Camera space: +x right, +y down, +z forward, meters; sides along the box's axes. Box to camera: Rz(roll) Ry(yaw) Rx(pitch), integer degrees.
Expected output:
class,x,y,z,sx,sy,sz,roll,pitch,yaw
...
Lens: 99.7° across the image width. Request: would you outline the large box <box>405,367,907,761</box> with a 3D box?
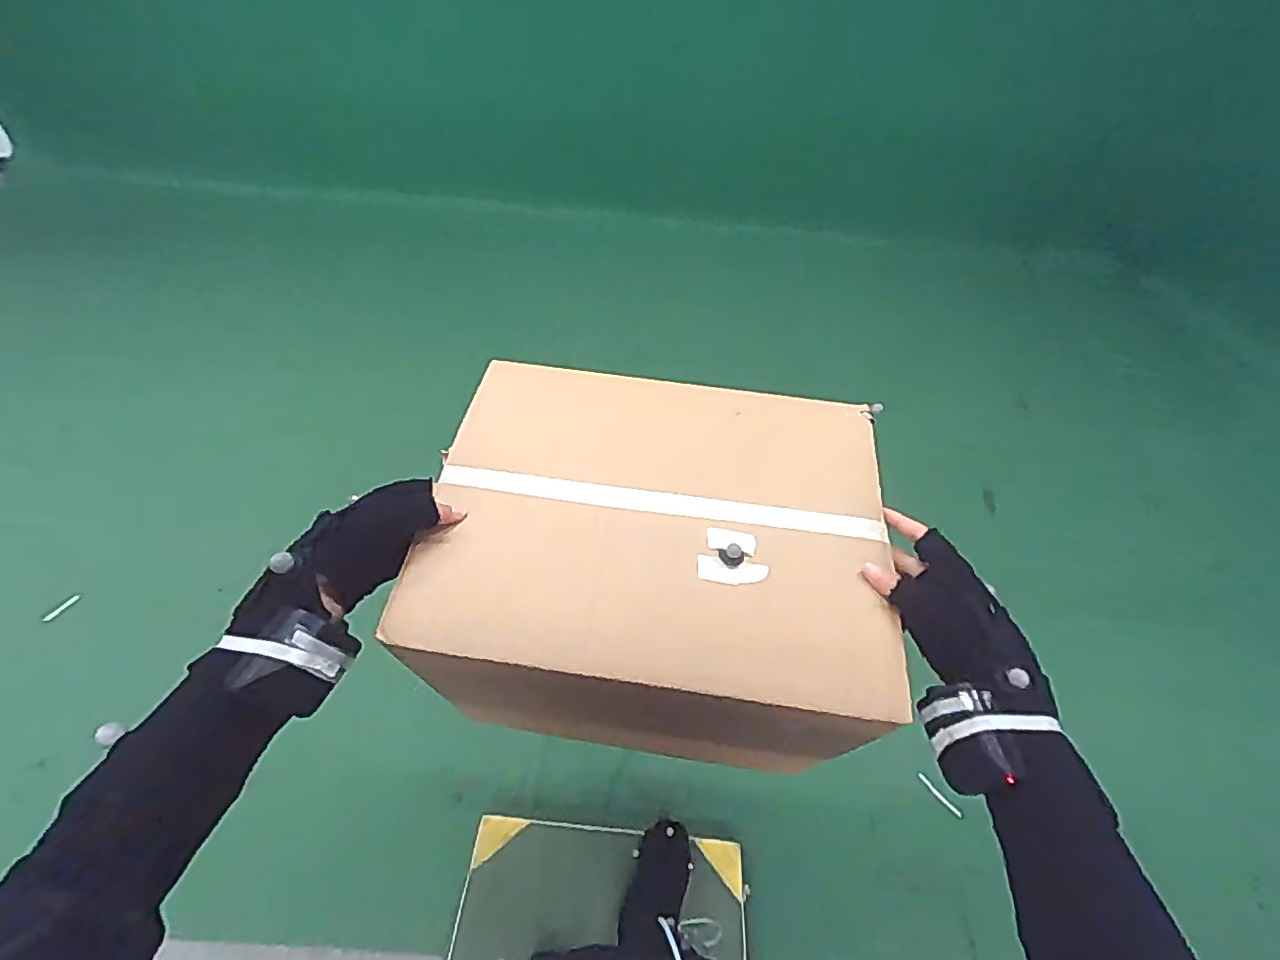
class,x,y,z,sx,sy,sz,roll,pitch,yaw
large box,0.019,0.107,0.623,0.408,0.320,0.320,8,56,2
